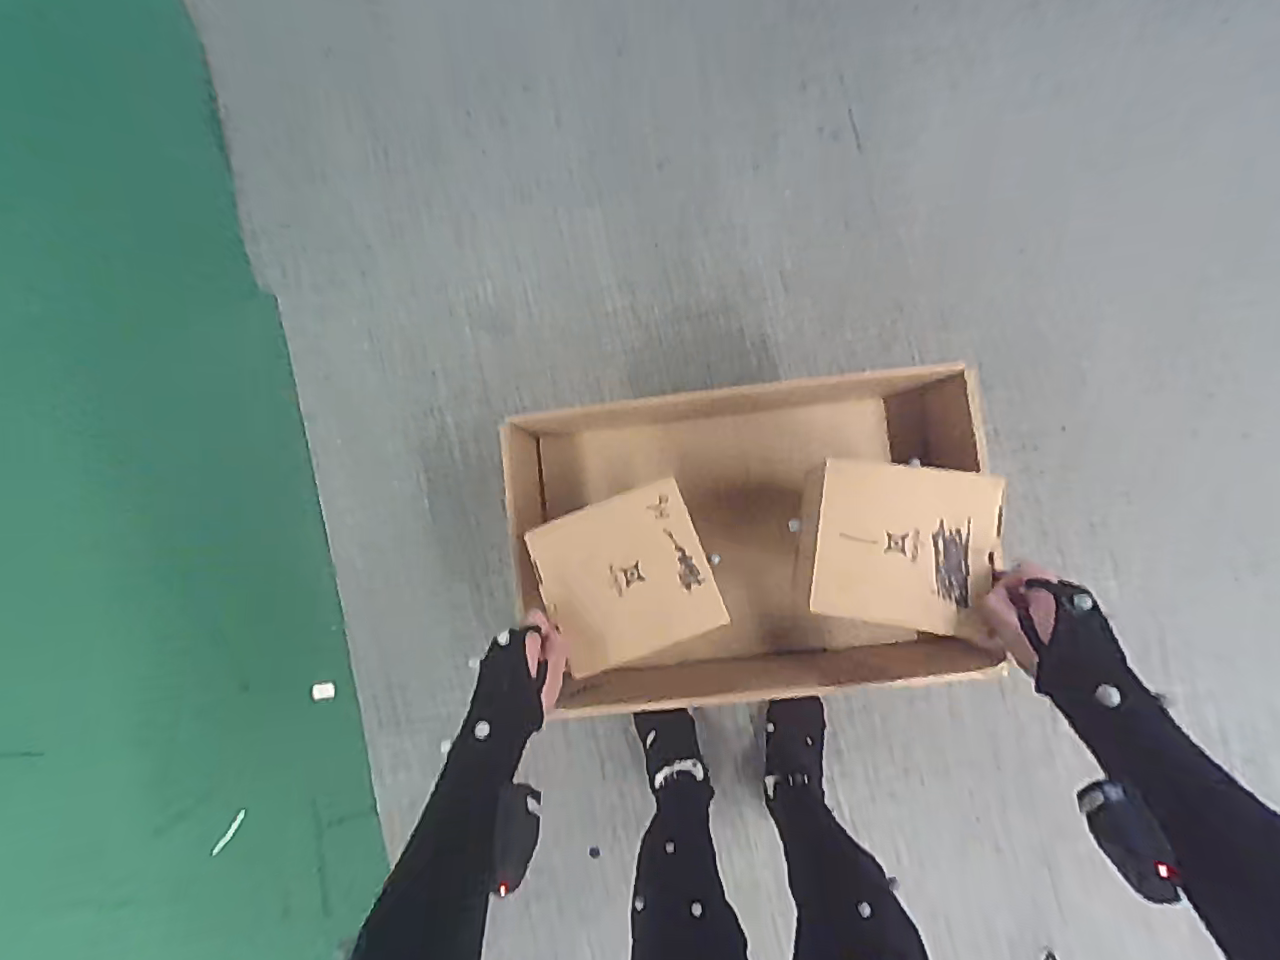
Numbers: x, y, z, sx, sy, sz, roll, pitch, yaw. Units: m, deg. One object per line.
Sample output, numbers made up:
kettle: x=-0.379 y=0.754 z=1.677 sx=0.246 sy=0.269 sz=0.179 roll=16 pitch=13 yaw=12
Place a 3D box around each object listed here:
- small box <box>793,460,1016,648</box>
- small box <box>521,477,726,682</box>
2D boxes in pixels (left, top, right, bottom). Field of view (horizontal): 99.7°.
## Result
small box: x=0.283 y=0.076 z=0.615 sx=0.179 sy=0.176 sz=0.168 roll=8 pitch=87 yaw=10
small box: x=-0.010 y=0.112 z=0.632 sx=0.179 sy=0.176 sz=0.168 roll=-22 pitch=81 yaw=3
